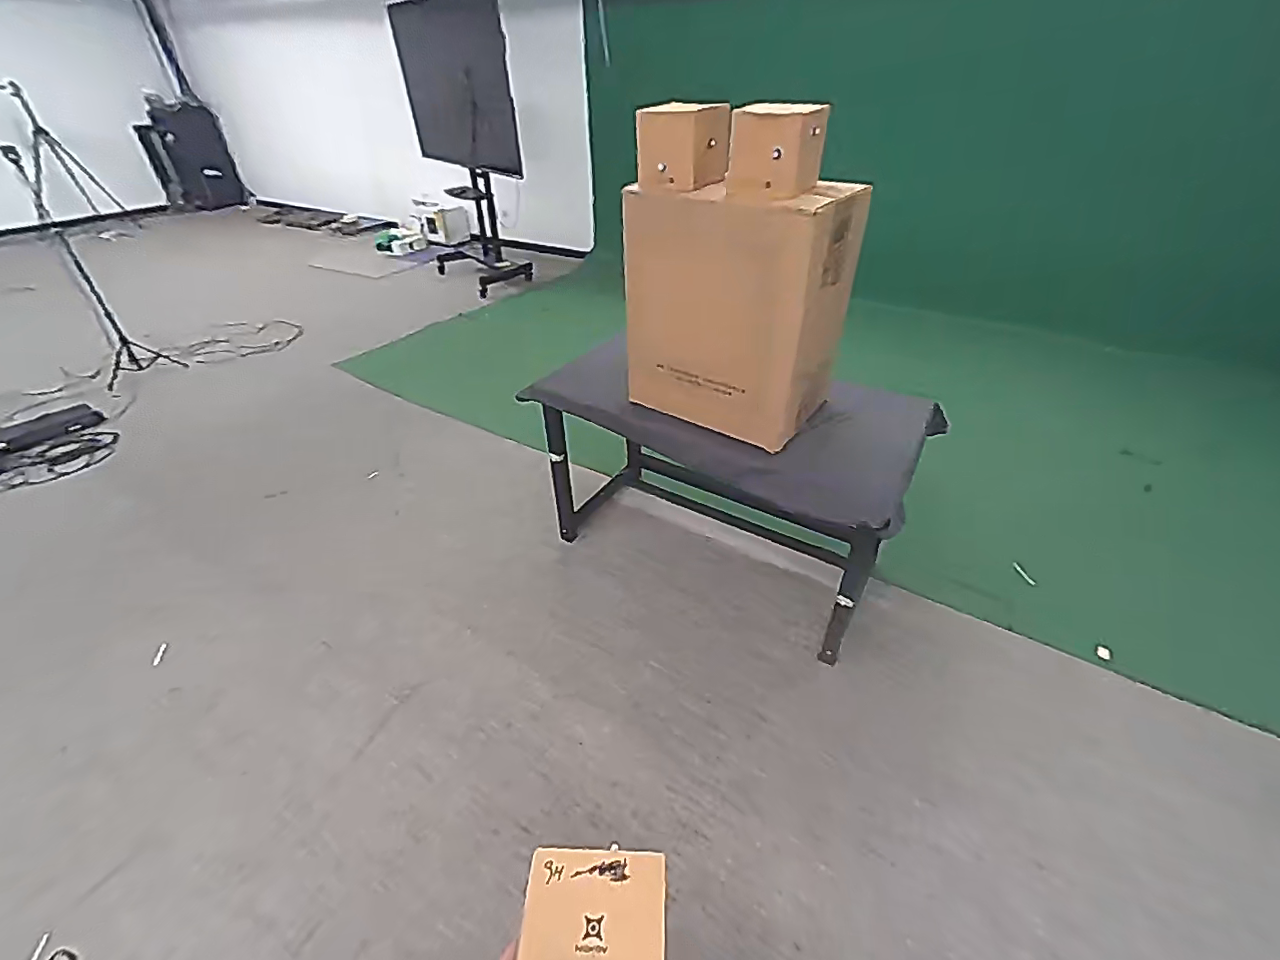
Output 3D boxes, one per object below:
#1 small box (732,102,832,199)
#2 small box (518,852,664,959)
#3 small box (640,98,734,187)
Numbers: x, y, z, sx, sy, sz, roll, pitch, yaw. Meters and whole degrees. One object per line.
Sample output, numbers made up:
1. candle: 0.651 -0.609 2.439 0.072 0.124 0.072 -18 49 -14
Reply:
1. small box: 0.325 -0.767 1.258 0.168 0.176 0.179 23 44 23
2. small box: -0.054 0.590 0.666 0.168 0.176 0.179 -1 37 -1
3. small box: 0.115 -0.850 1.357 0.168 0.176 0.179 25 46 30
